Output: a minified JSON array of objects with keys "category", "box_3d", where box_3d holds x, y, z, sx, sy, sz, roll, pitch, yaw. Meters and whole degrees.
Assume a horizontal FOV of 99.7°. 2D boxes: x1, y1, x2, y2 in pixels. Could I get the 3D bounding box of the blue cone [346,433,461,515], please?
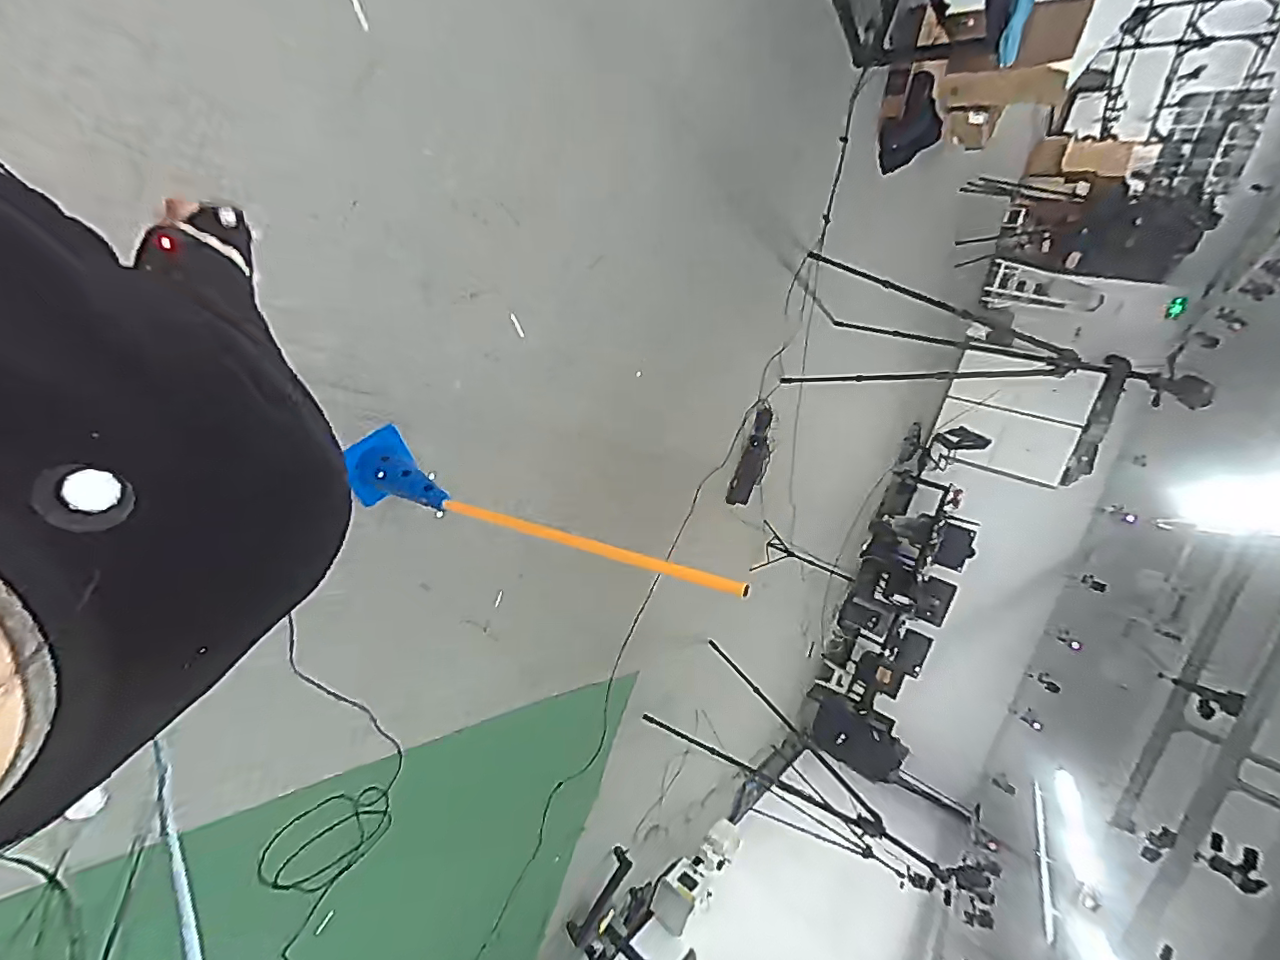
[{"category":"blue cone","box_3d":[-0.636,0.017,1.528,0.193,0.380,0.192,-47,140,-31]}]
